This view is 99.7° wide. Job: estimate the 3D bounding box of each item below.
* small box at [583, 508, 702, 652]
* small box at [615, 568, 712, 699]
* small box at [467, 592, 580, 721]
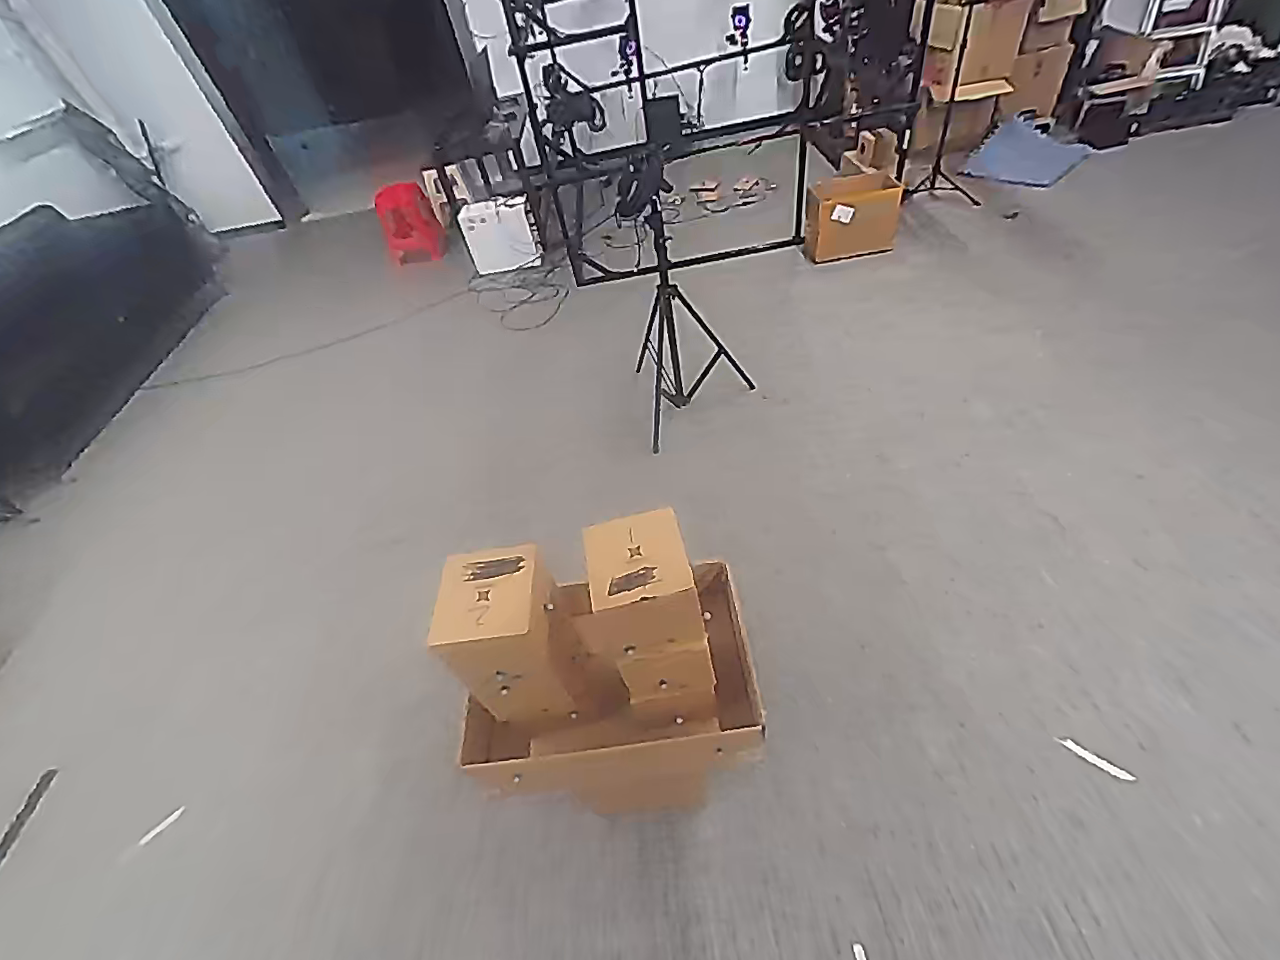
[{"bbox_3d":[0.006,0.182,0.948,0.168,0.176,0.179,-14,46,0],"label":"small box"},{"bbox_3d":[0.042,0.301,1.057,0.168,0.176,0.179,-12,46,2],"label":"small box"},{"bbox_3d":[-0.220,0.350,1.071,0.168,0.176,0.179,-10,45,5],"label":"small box"}]
